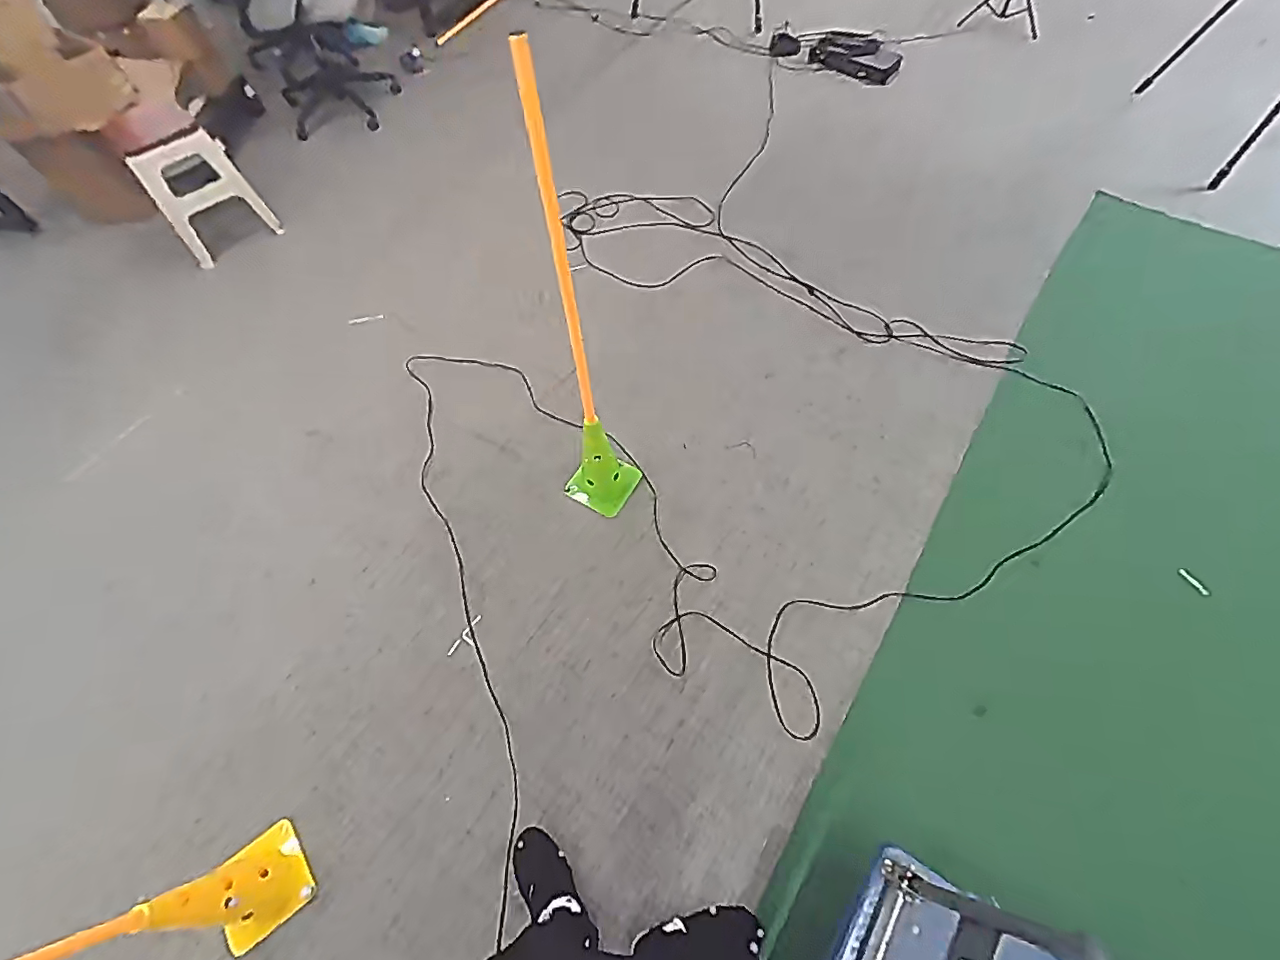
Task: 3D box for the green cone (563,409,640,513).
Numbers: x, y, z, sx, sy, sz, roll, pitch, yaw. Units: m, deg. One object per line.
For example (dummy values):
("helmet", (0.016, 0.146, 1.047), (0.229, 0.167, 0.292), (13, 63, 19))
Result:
("green cone", (-0.129, -0.087, 1.633), (0.200, 0.368, 0.202), (26, 64, 16))
